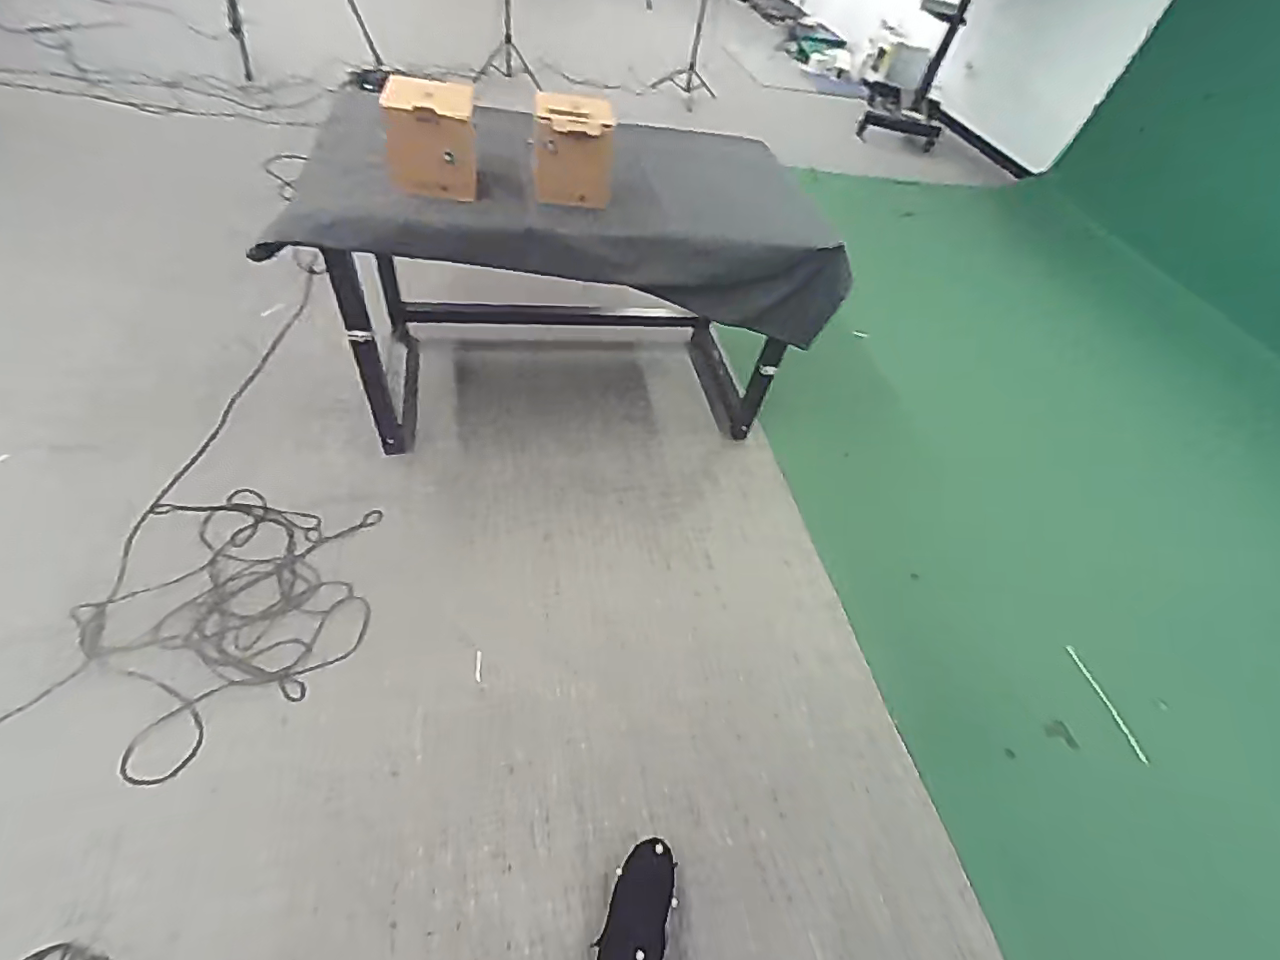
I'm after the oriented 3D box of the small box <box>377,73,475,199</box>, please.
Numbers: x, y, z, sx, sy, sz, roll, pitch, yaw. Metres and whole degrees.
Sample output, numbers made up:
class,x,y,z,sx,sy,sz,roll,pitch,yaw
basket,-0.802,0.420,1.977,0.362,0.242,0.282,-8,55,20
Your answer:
class,x,y,z,sx,sy,sz,roll,pitch,yaw
small box,-0.436,-0.714,1.132,0.168,0.176,0.179,0,50,-14
